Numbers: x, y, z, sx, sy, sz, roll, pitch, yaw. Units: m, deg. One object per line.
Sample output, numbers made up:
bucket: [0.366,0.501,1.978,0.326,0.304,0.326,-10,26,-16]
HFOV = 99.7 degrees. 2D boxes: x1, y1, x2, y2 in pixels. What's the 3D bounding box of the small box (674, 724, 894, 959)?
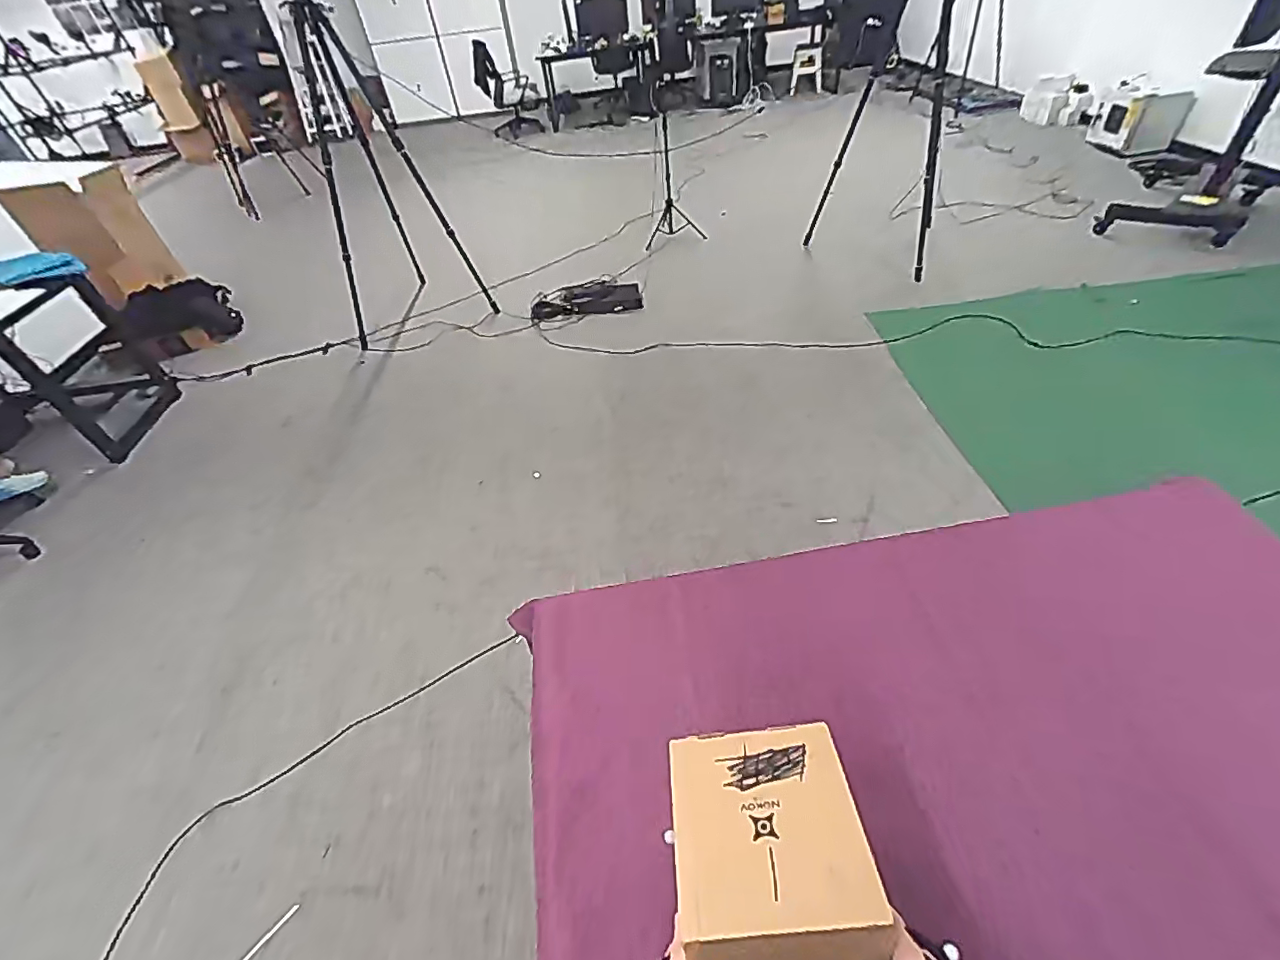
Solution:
small box: [0.129,0.375,0.530,0.168,0.176,0.179,-10,29,5]
